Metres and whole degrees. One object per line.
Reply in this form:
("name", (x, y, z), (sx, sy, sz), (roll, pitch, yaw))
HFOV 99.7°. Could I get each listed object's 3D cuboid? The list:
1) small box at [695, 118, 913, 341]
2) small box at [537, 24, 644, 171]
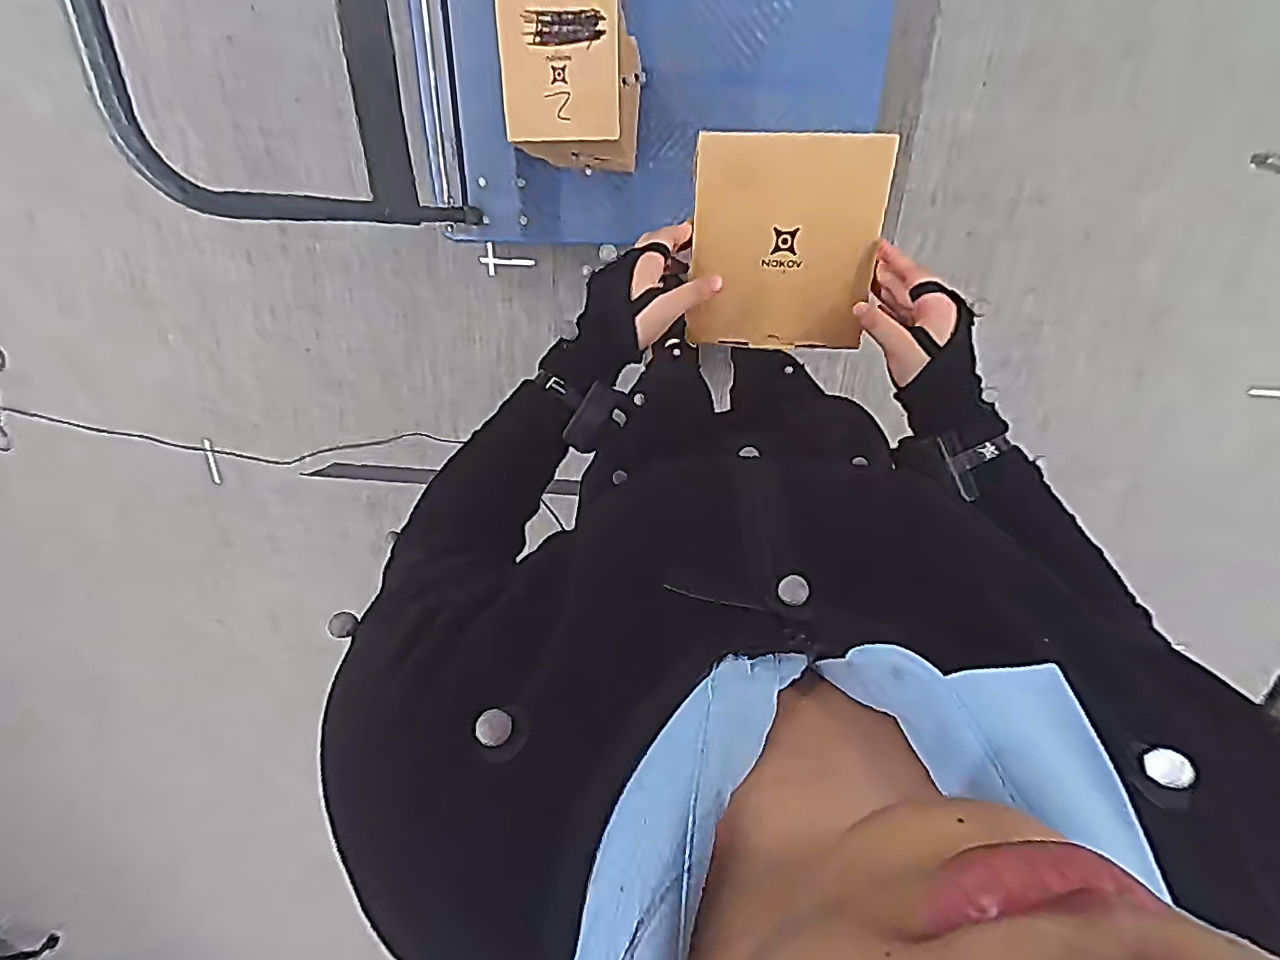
("small box", (0.144, -0.246, 0.547), (0.168, 0.176, 0.179), (3, 115, 4))
("small box", (-0.082, -0.666, 0.962), (0.168, 0.176, 0.179), (6, 114, 2))
